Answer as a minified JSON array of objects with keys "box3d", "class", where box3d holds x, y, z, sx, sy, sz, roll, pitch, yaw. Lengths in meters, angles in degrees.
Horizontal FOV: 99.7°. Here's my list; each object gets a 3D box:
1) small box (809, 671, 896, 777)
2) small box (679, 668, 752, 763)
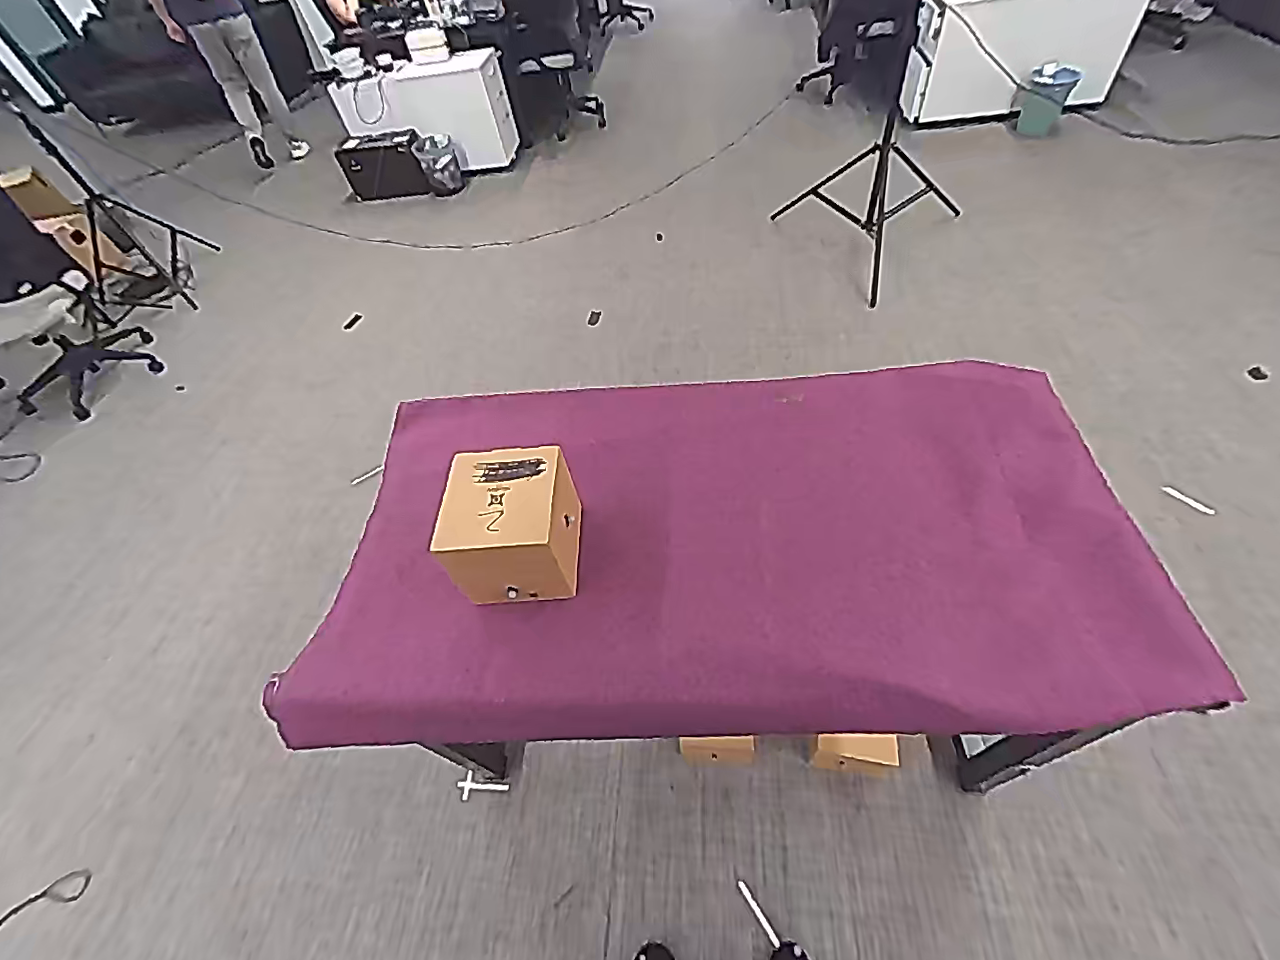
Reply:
[{"box3d":[0.492,0.575,1.267,0.168,0.176,0.179,5,52,14],"class":"small box"},{"box3d":[0.188,0.575,1.314,0.168,0.176,0.179,0,51,8],"class":"small box"}]
